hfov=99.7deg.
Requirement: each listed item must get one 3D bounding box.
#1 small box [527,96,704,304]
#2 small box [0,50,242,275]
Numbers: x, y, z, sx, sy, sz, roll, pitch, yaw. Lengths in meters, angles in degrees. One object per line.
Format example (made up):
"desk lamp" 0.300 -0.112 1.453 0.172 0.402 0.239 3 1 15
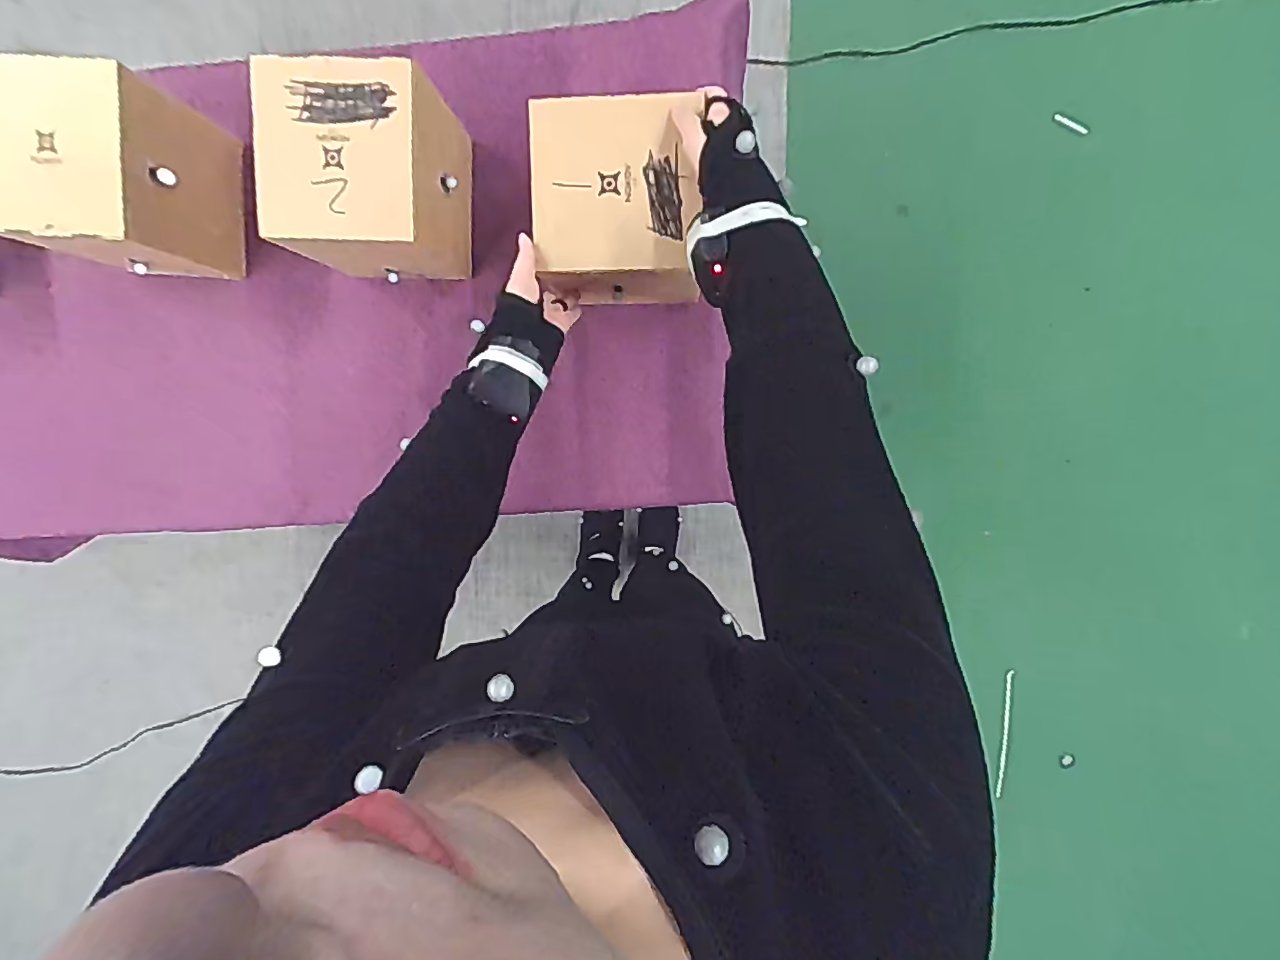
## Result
"small box" -0.021 -0.301 0.615 0.179 0.176 0.168 0 97 4
"small box" -0.609 -0.358 0.638 0.168 0.176 0.179 5 98 2
